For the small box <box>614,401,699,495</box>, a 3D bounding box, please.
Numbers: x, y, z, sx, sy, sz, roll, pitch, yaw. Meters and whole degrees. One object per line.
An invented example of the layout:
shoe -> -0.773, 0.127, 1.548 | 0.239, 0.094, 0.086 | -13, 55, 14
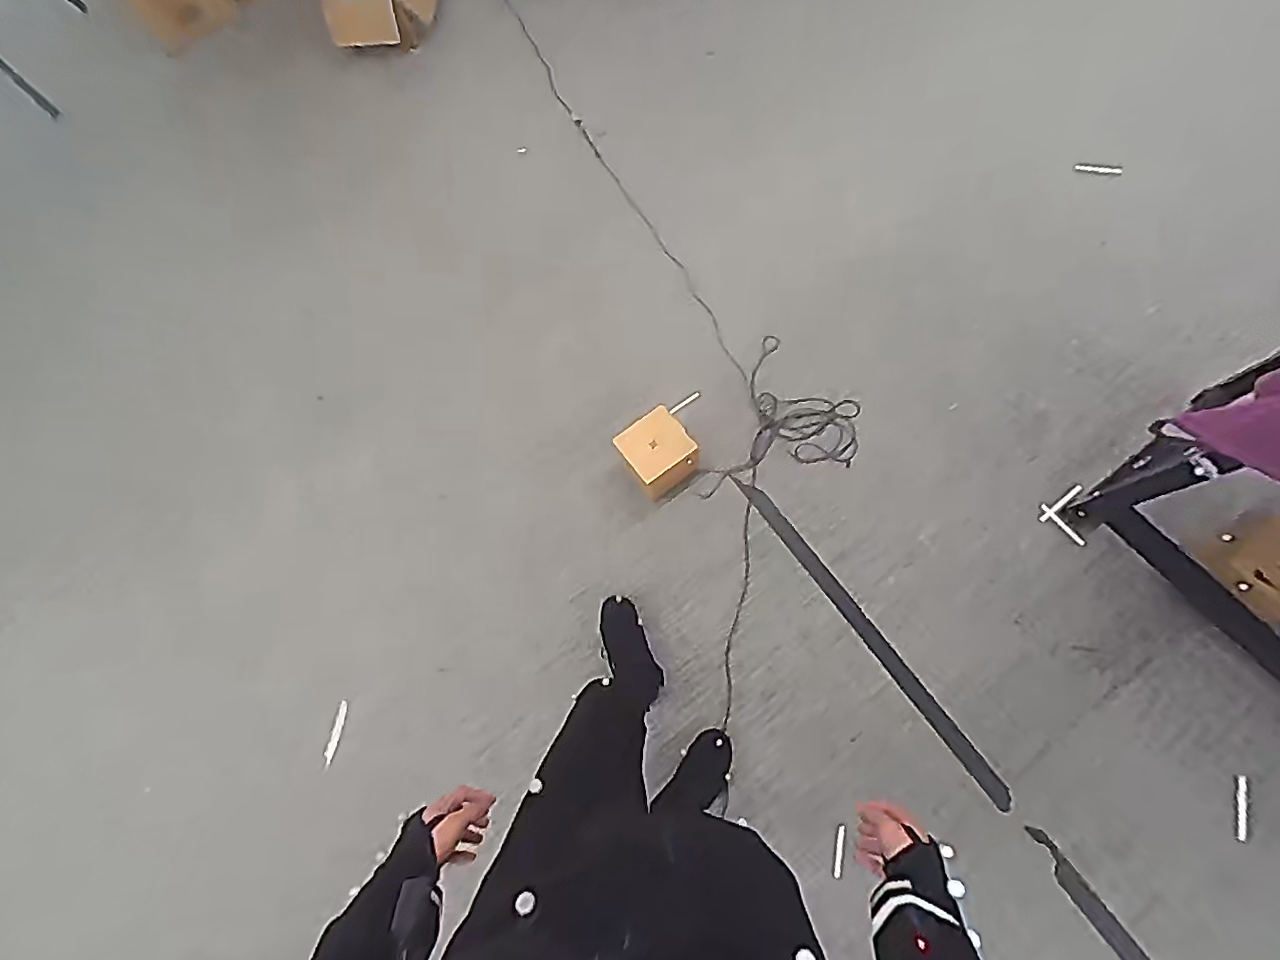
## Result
small box -> 0.053, -0.082, 1.517 | 0.179, 0.176, 0.168 | -37, 72, -6
